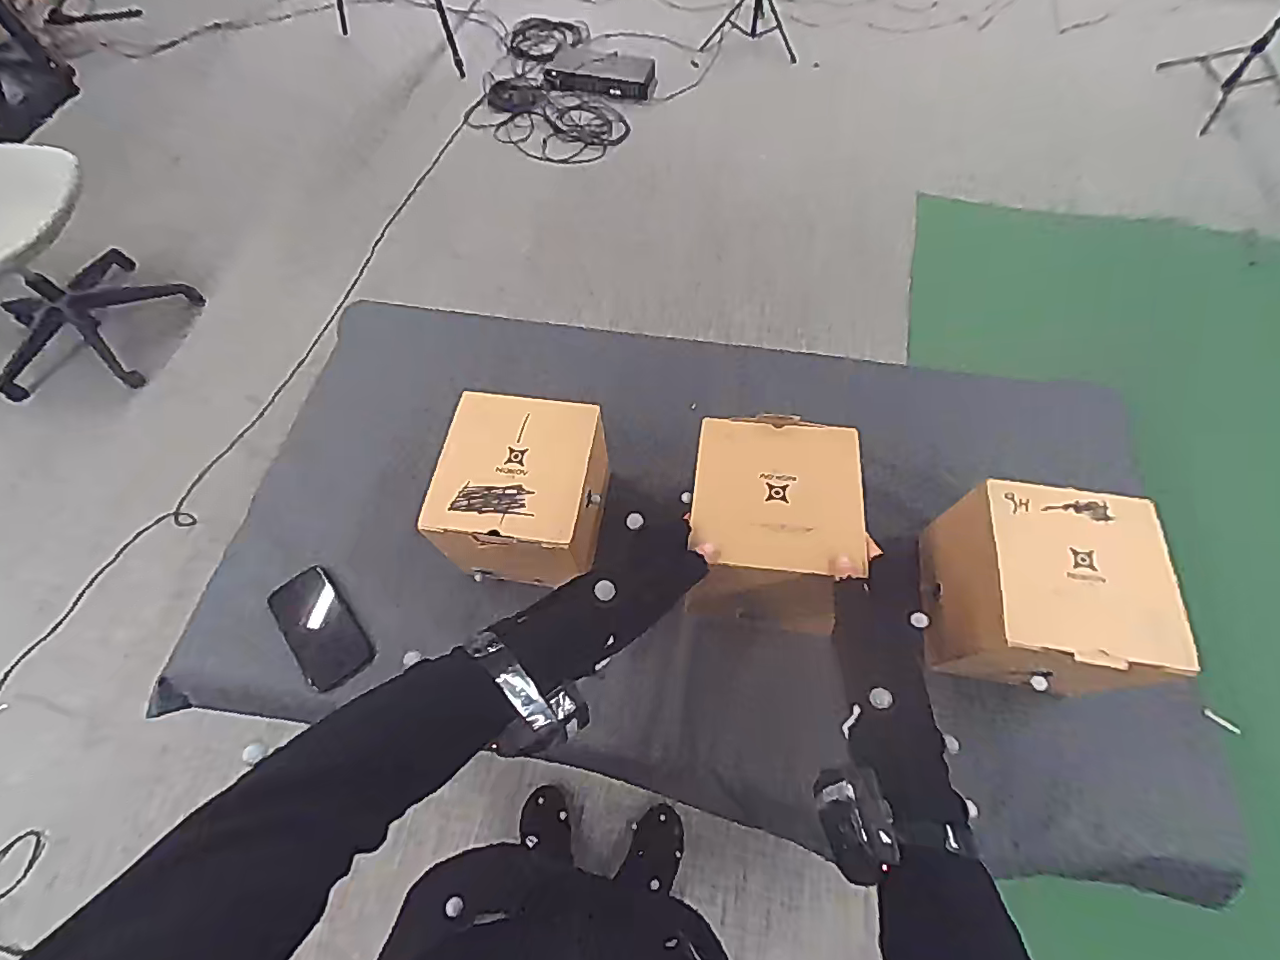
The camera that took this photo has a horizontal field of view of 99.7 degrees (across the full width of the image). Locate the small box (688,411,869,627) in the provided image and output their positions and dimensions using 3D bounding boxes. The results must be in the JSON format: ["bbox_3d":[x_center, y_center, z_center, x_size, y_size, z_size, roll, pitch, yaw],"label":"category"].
[{"bbox_3d":[0.143,0.047,0.605,0.168,0.176,0.179,4,59,8],"label":"small box"}]

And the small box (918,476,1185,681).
[{"bbox_3d":[0.431,0.118,0.605,0.168,0.176,0.179,8,65,6],"label":"small box"}]

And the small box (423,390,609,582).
[{"bbox_3d":[-0.134,0.015,0.667,0.168,0.176,0.179,7,63,4],"label":"small box"}]
